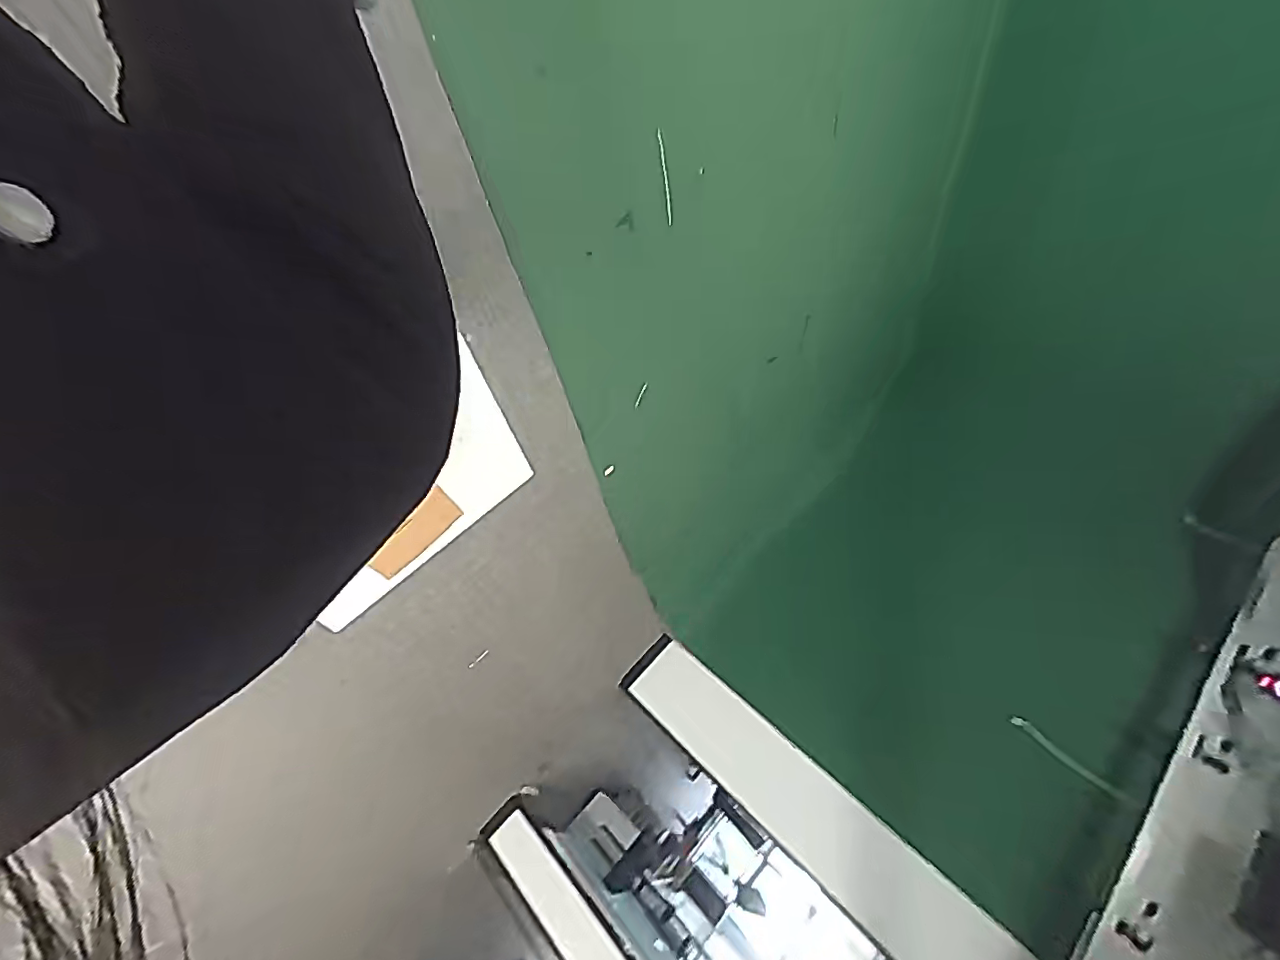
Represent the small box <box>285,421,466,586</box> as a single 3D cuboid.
[{"bbox_3d":[-0.428,0.035,0.883,0.168,0.176,0.179,-46,145,-16],"label":"small box"}]
